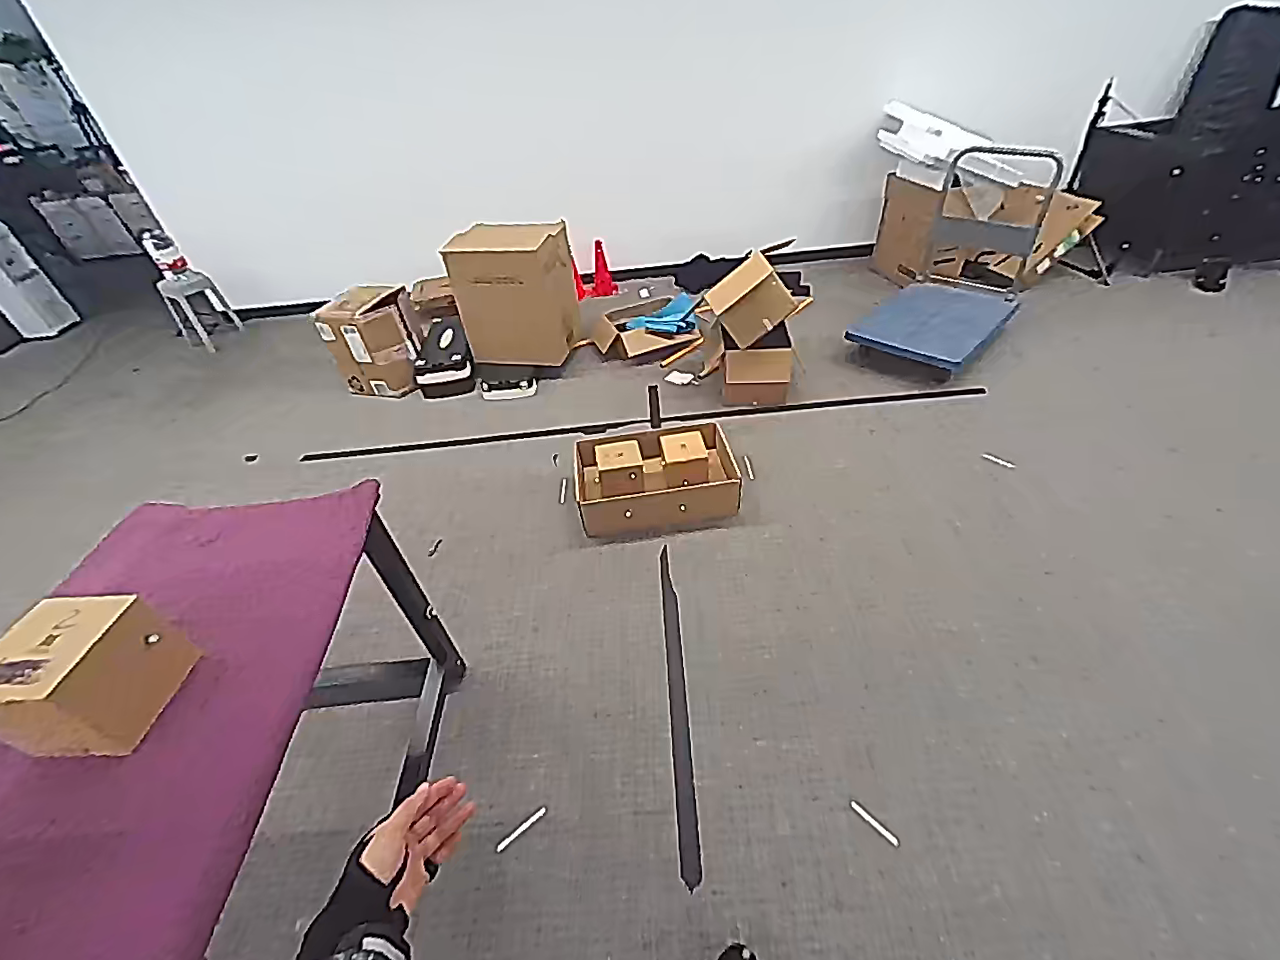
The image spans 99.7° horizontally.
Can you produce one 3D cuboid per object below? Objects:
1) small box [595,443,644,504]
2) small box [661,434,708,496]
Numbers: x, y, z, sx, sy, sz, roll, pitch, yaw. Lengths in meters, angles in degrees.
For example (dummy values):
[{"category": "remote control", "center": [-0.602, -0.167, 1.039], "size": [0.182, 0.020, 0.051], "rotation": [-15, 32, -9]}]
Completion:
[{"category": "small box", "center": [-0.079, -0.024, 2.167], "size": [0.179, 0.176, 0.168], "rotation": [-9, 39, -4]}, {"category": "small box", "center": [0.178, -0.060, 2.179], "size": [0.168, 0.176, 0.179], "rotation": [-9, 40, -2]}]
